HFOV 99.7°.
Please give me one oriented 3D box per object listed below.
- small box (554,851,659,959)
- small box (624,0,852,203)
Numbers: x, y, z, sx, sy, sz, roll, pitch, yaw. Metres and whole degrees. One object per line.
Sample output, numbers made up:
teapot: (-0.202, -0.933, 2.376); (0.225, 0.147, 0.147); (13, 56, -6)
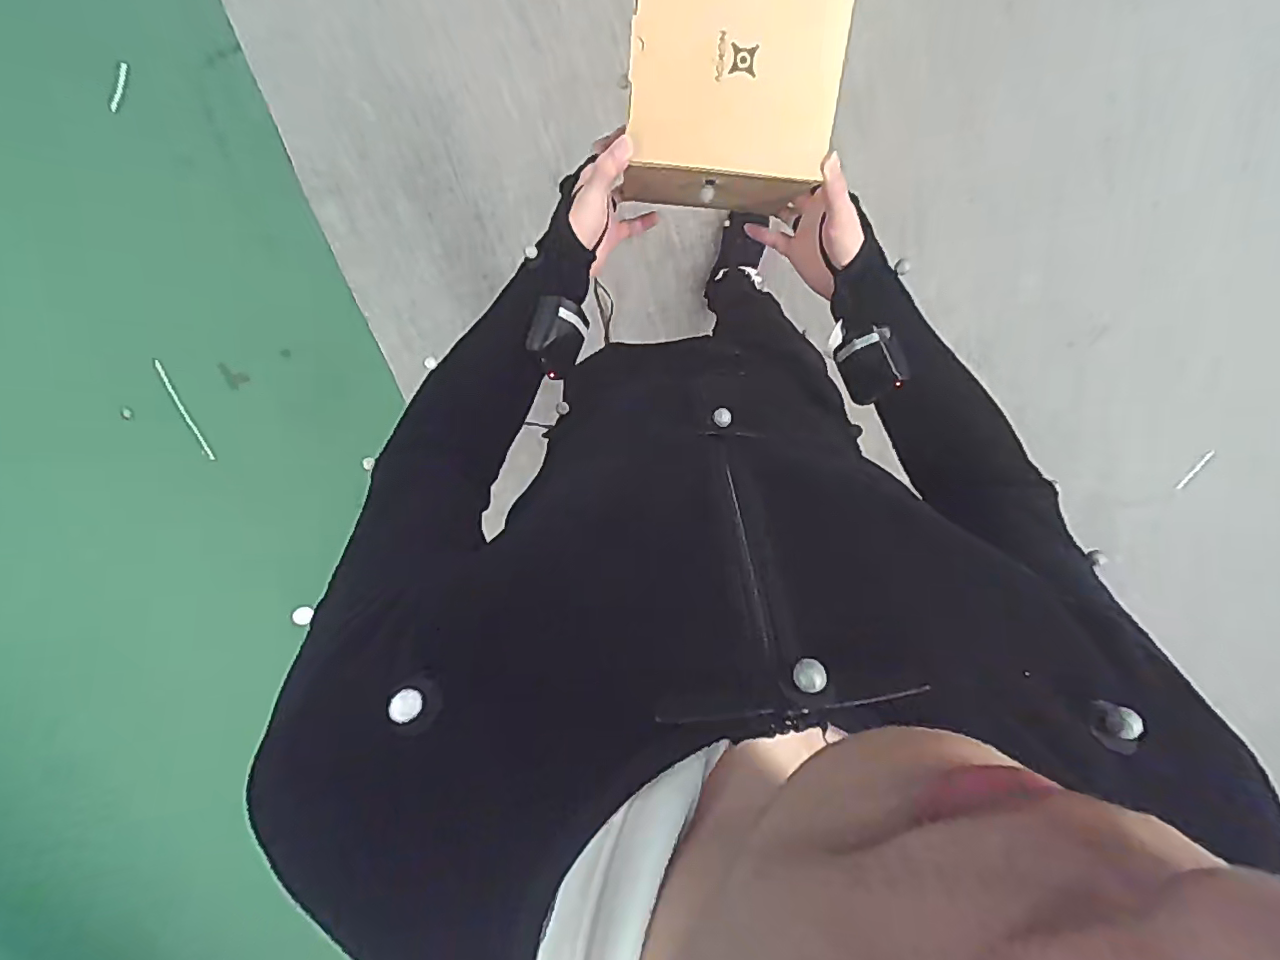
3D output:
small box: (-0.063, 0.946, 1.168); (0.179, 0.176, 0.168); (-16, 109, 9)
small box: (0.079, -0.374, 0.518); (0.179, 0.176, 0.168); (4, 108, -1)
